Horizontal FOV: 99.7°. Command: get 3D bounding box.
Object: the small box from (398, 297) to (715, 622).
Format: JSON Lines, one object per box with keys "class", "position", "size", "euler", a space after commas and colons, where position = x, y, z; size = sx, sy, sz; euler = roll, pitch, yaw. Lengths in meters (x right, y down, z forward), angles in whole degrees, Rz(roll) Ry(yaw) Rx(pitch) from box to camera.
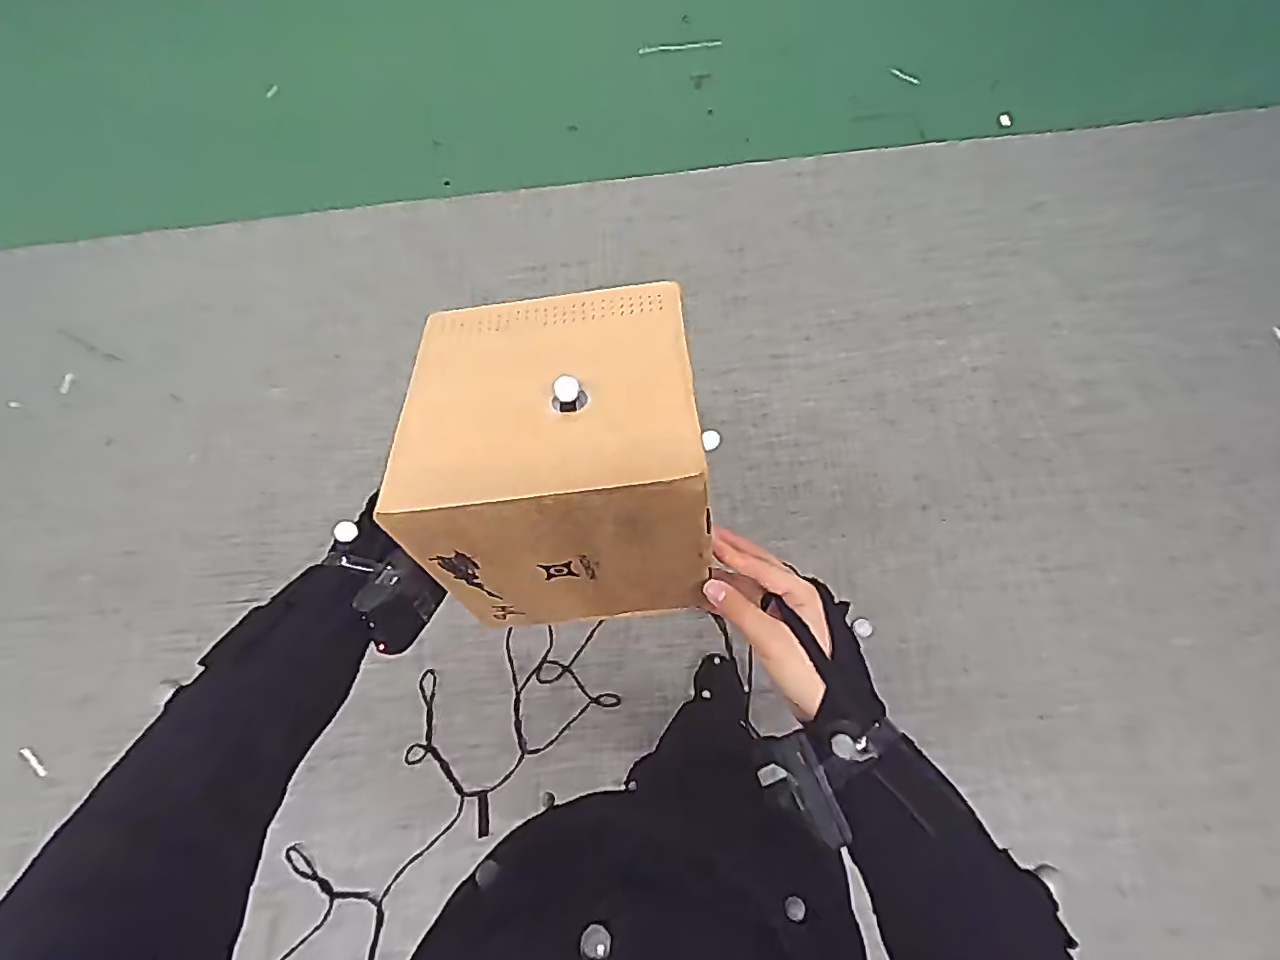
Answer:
{"class": "small box", "position": [-0.045, -0.013, 0.398], "size": [0.179, 0.168, 0.176], "euler": [-7, 54, 3]}
